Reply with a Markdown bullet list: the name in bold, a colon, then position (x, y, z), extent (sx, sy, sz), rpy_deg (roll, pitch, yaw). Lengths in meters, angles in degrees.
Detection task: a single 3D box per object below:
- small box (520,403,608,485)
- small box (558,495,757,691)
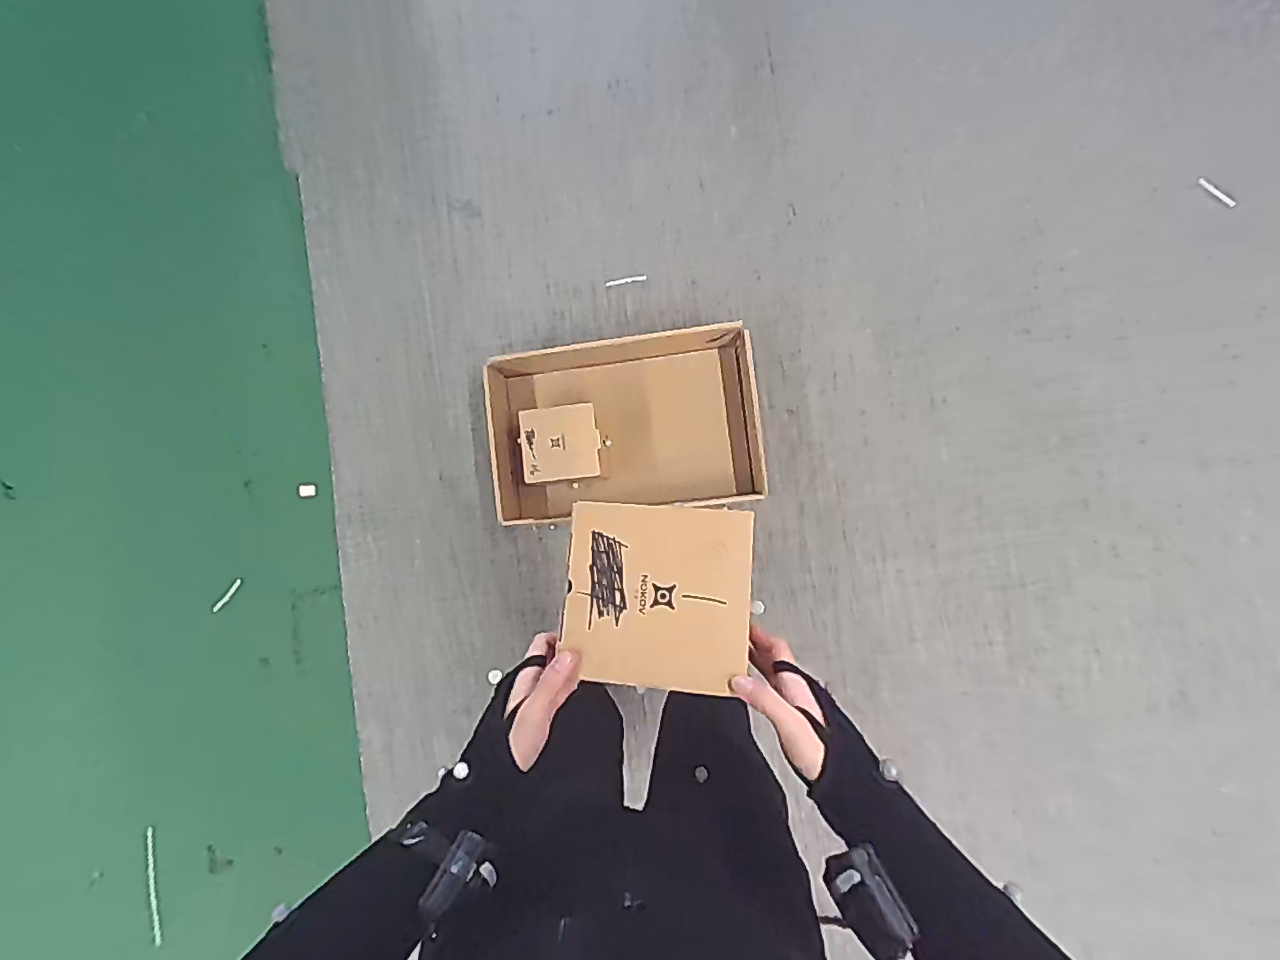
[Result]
- **small box**: position (-0.171, -0.079, 1.275), extent (0.179, 0.176, 0.168), rpy_deg (-6, 86, 4)
- **small box**: position (0.030, 0.115, 0.571), extent (0.179, 0.176, 0.168), rpy_deg (2, 79, 10)
